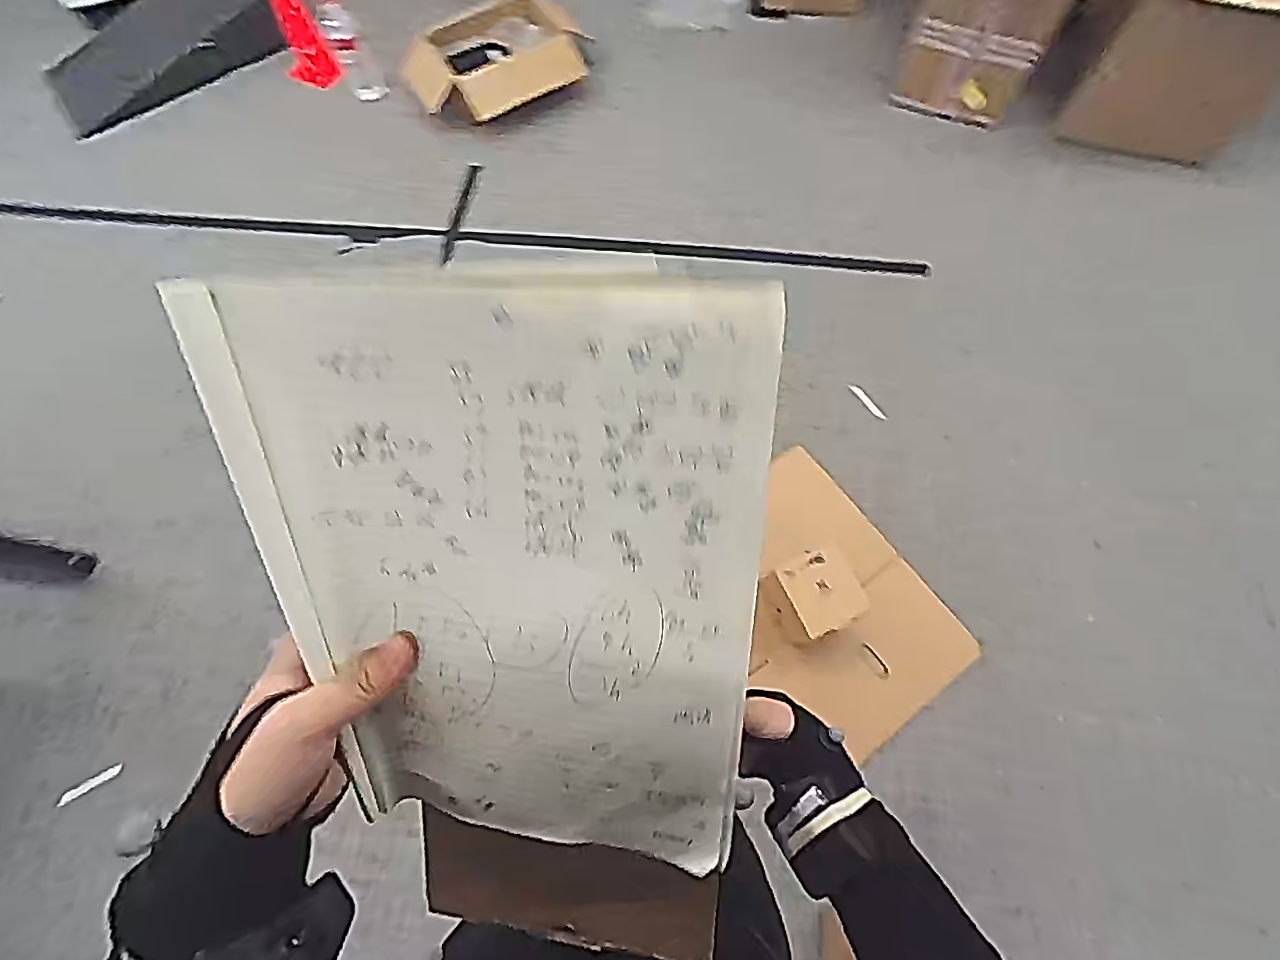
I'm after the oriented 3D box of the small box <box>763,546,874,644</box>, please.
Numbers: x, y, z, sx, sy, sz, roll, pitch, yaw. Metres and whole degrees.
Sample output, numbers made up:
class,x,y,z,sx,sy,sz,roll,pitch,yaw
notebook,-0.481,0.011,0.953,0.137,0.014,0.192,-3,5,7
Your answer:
class,x,y,z,sx,sy,sz,roll,pitch,yaw
small box,0.418,0.280,1.296,0.168,0.176,0.179,-22,73,-8

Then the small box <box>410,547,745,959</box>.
class,x,y,z,sx,sy,sz,roll,pitch,yaw
small box,-0.027,0.153,0.350,0.168,0.176,0.179,4,103,8
